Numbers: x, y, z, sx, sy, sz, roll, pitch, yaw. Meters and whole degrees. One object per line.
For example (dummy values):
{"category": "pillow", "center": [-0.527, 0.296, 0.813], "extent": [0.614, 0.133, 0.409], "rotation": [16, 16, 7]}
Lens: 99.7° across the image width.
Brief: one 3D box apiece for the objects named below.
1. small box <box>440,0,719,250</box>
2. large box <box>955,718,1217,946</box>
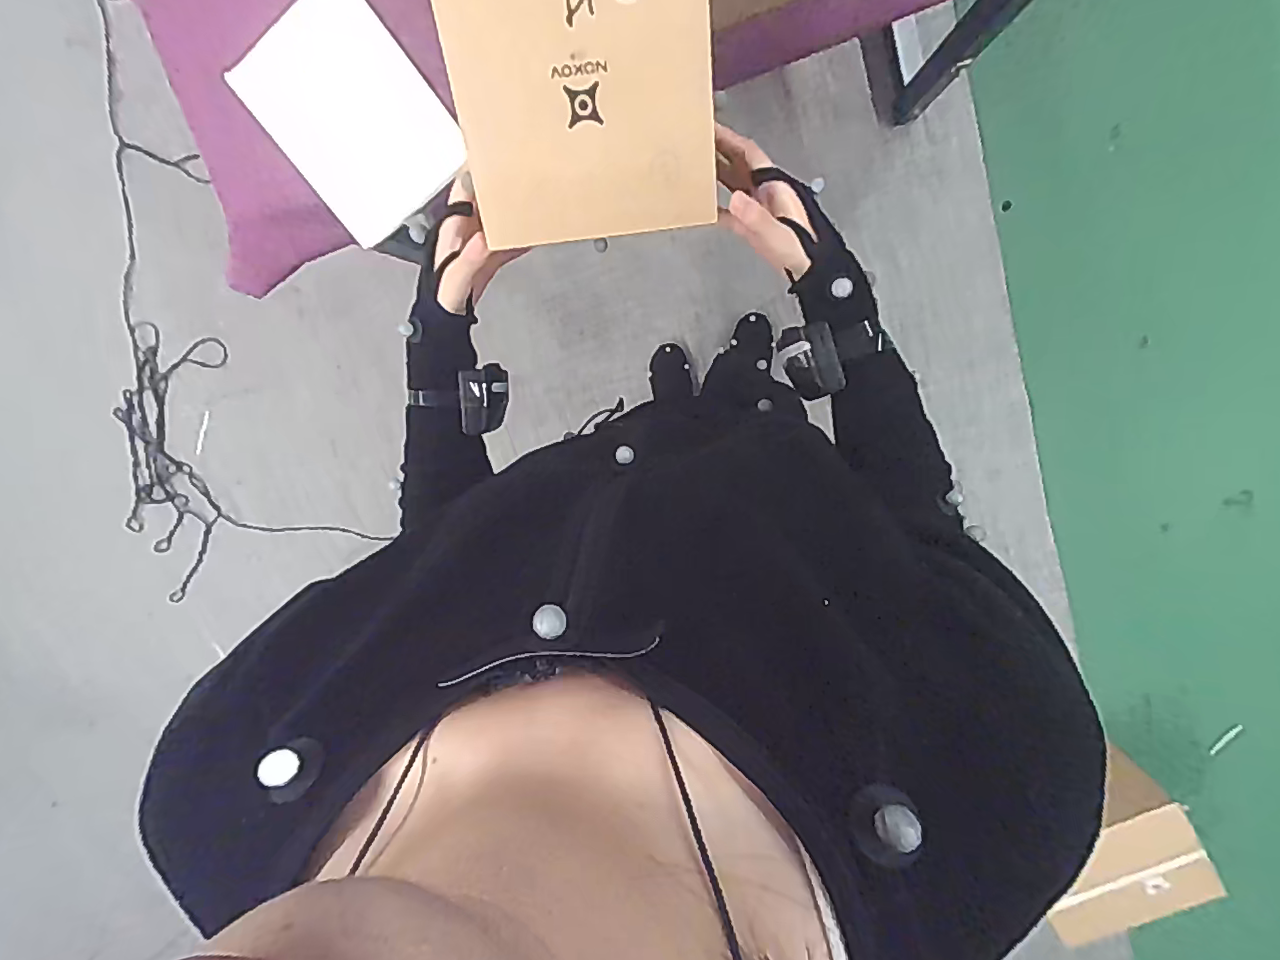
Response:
{"category": "small box", "center": [-0.035, -0.283, 0.408], "extent": [0.168, 0.176, 0.179], "rotation": [-6, 117, 0]}
{"category": "large box", "center": [1.191, 0.949, 1.492], "extent": [0.408, 0.320, 0.320], "rotation": [-32, 100, 9]}
